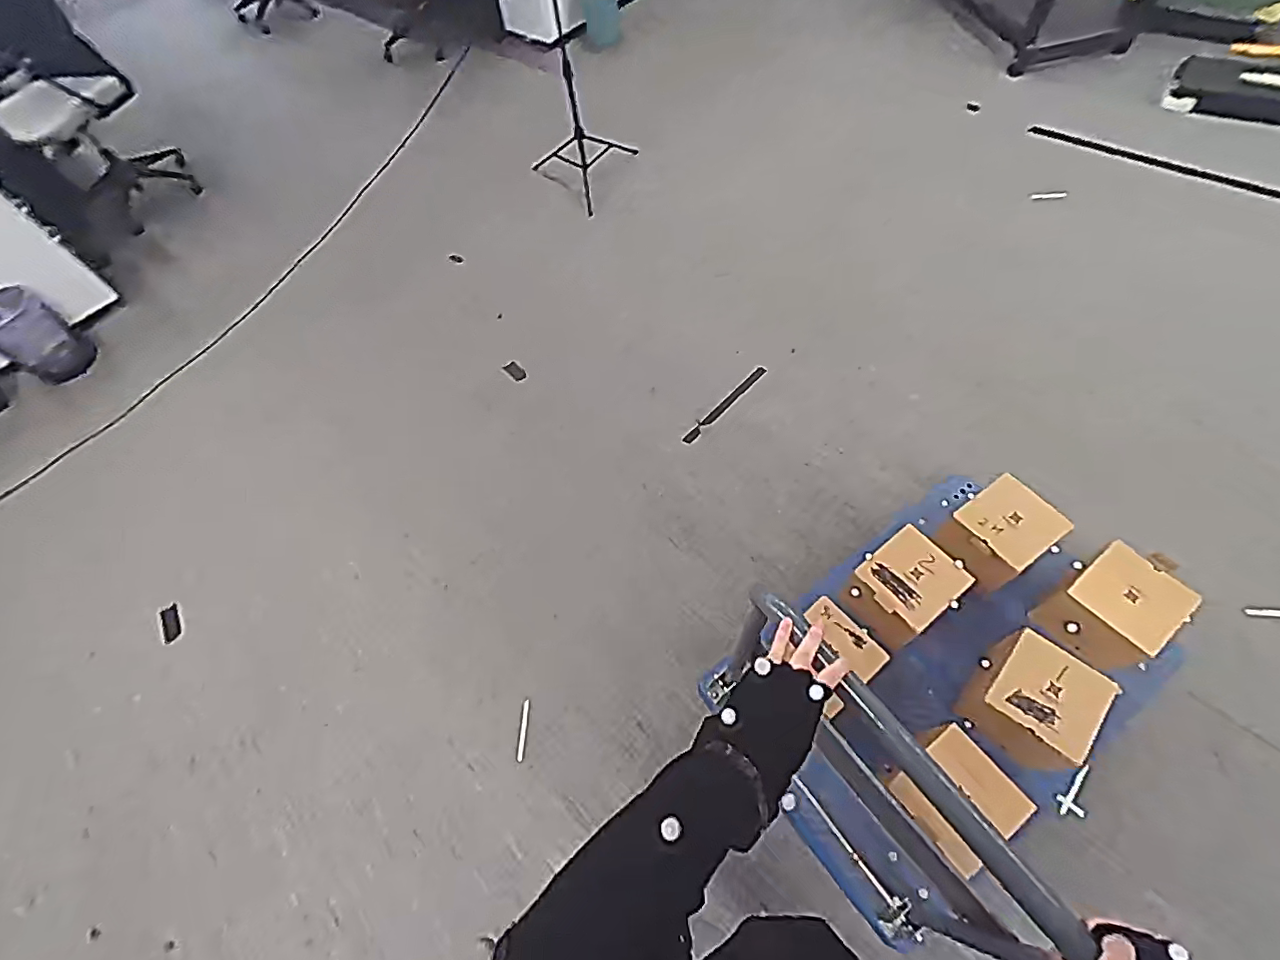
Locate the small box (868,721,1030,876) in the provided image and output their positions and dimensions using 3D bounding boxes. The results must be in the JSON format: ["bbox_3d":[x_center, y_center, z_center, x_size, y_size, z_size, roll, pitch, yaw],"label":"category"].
[{"bbox_3d":[0.543,0.574,0.984,0.179,0.176,0.168,-33,62,-13],"label":"small box"}]

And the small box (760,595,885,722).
[{"bbox_3d":[0.365,0.376,1.118,0.179,0.176,0.168,-37,64,-14],"label":"small box"}]

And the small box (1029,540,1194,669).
[{"bbox_3d":[0.953,0.263,1.116,0.179,0.176,0.168,-37,62,-14],"label":"small box"}]

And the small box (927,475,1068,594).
[{"bbox_3d":[0.787,0.126,1.212,0.179,0.176,0.168,-33,61,-11],"label":"small box"}]

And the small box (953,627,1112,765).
[{"bbox_3d":[0.743,0.423,1.047,0.168,0.176,0.179,36,69,24],"label":"small box"}]
